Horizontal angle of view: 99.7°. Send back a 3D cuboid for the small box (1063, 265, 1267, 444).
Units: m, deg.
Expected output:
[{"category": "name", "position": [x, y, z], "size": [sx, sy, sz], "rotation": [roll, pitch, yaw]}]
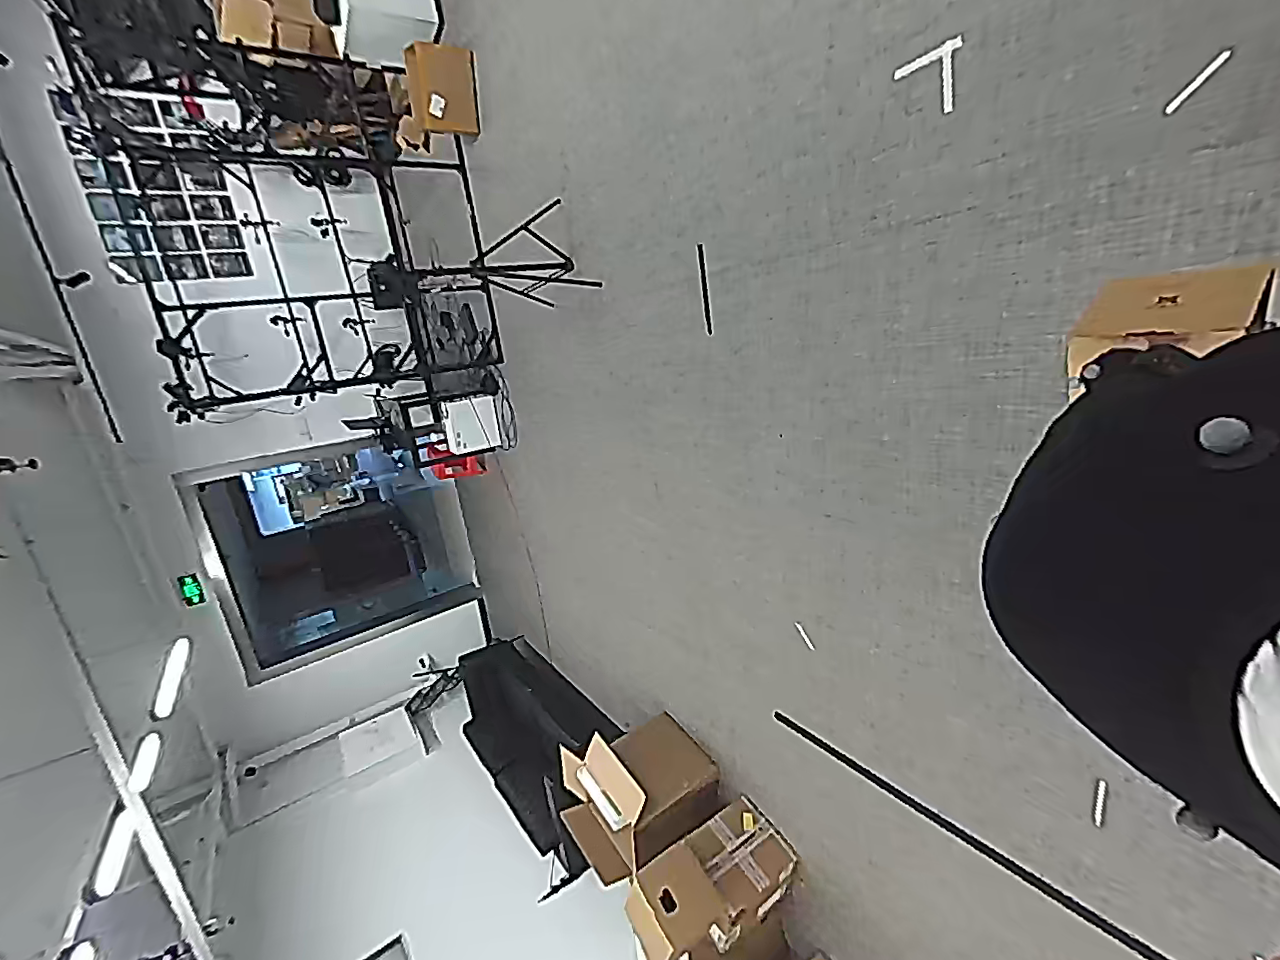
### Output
[{"category": "small box", "position": [0.714, -0.167, 0.744], "size": [0.168, 0.179, 0.176], "rotation": [15, 139, 50]}]
